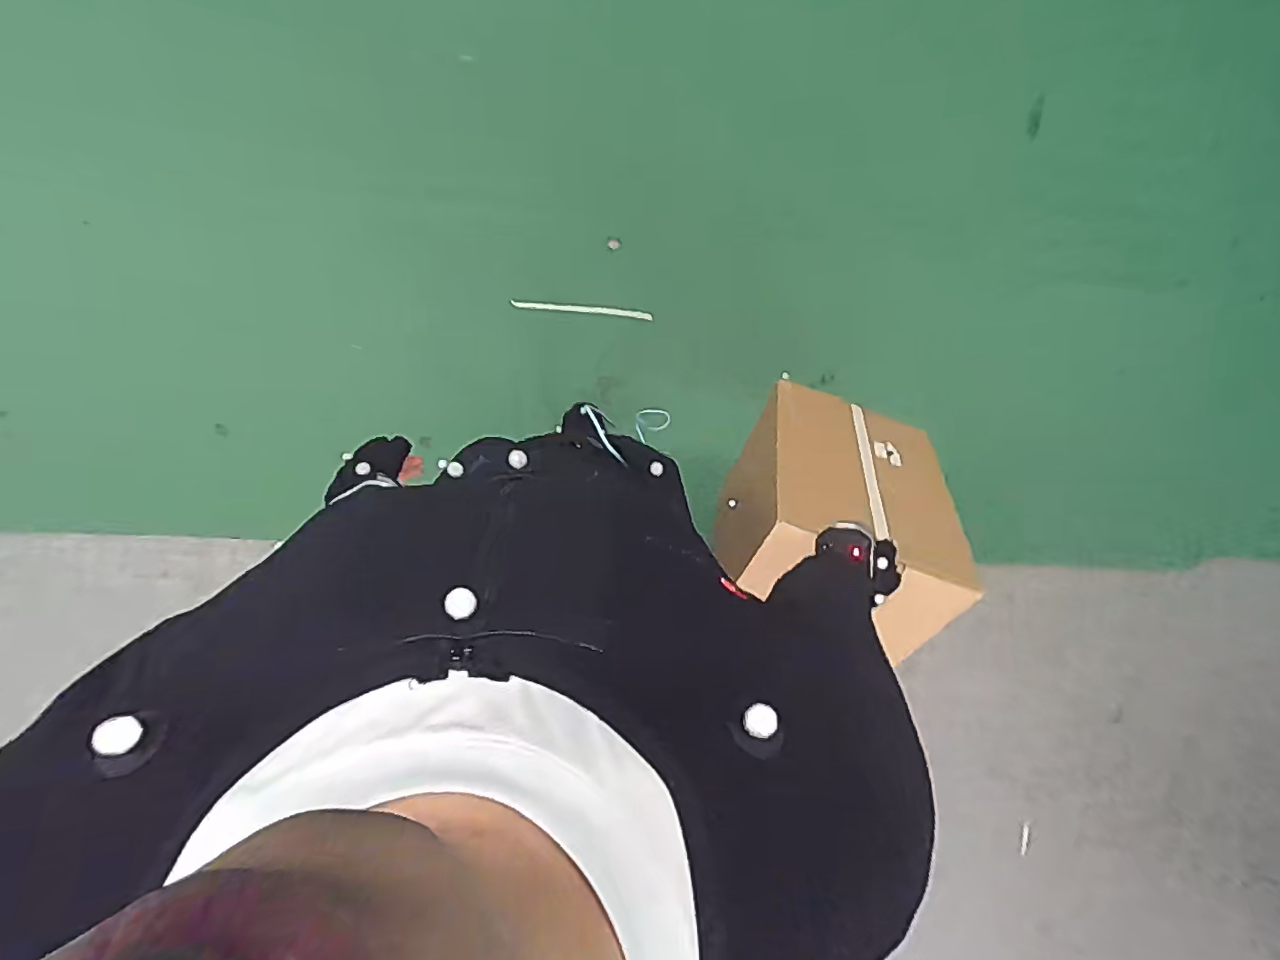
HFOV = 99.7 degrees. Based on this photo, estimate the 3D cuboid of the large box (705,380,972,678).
[{"bbox_3d":[0.329,0.083,1.009,0.320,0.408,0.320,21,130,-2],"label":"large box"}]
